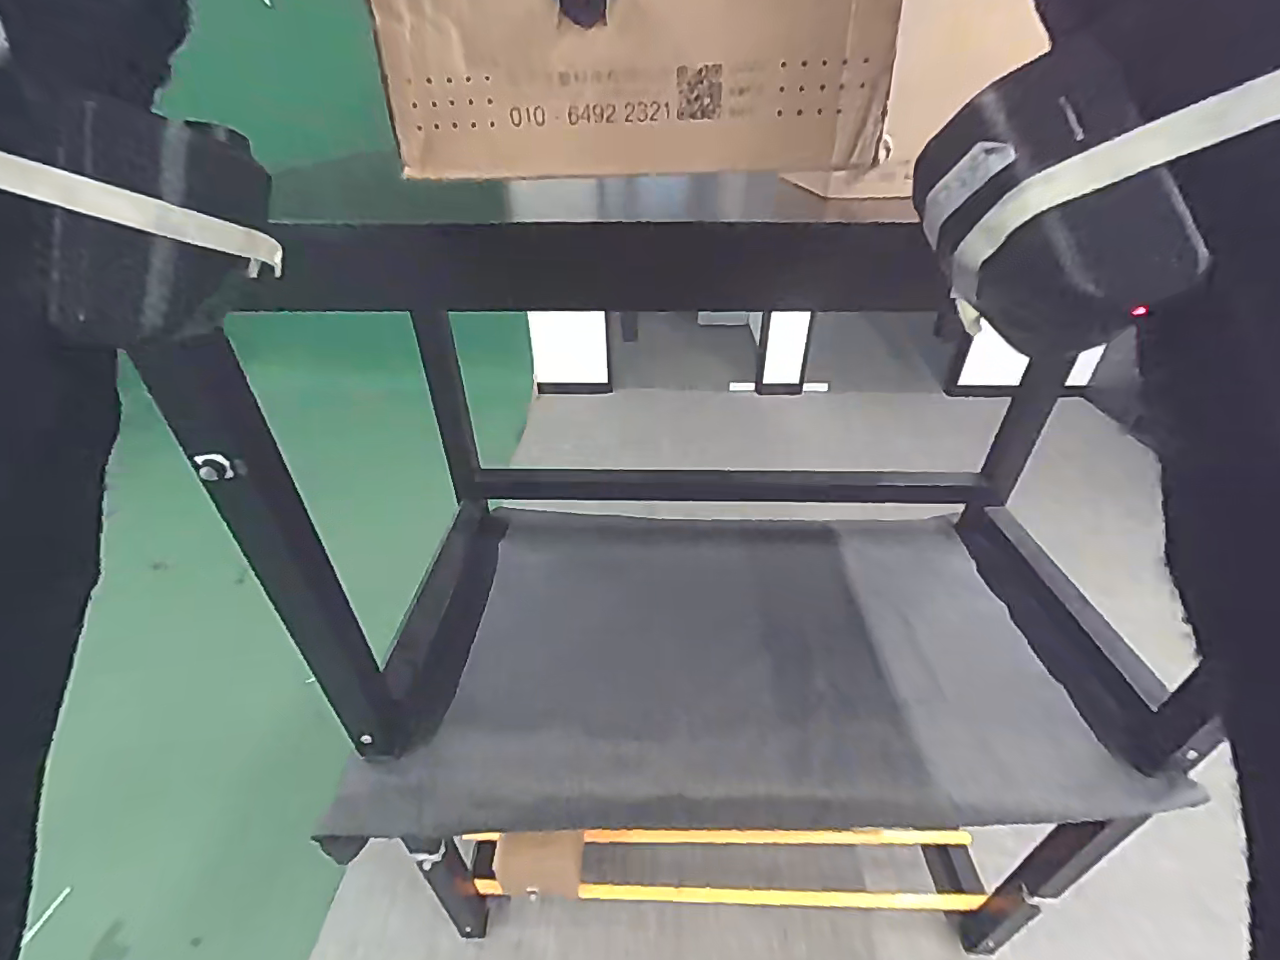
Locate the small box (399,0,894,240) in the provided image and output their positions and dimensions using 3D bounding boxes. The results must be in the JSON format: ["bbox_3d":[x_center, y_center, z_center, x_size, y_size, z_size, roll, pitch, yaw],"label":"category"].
[{"bbox_3d":[0.001,-0.206,0.233,0.168,0.176,0.179,0,31,3],"label":"small box"}]

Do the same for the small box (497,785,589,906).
[{"bbox_3d":[-0.205,0.808,1.199,0.168,0.176,0.179,0,36,2],"label":"small box"}]
